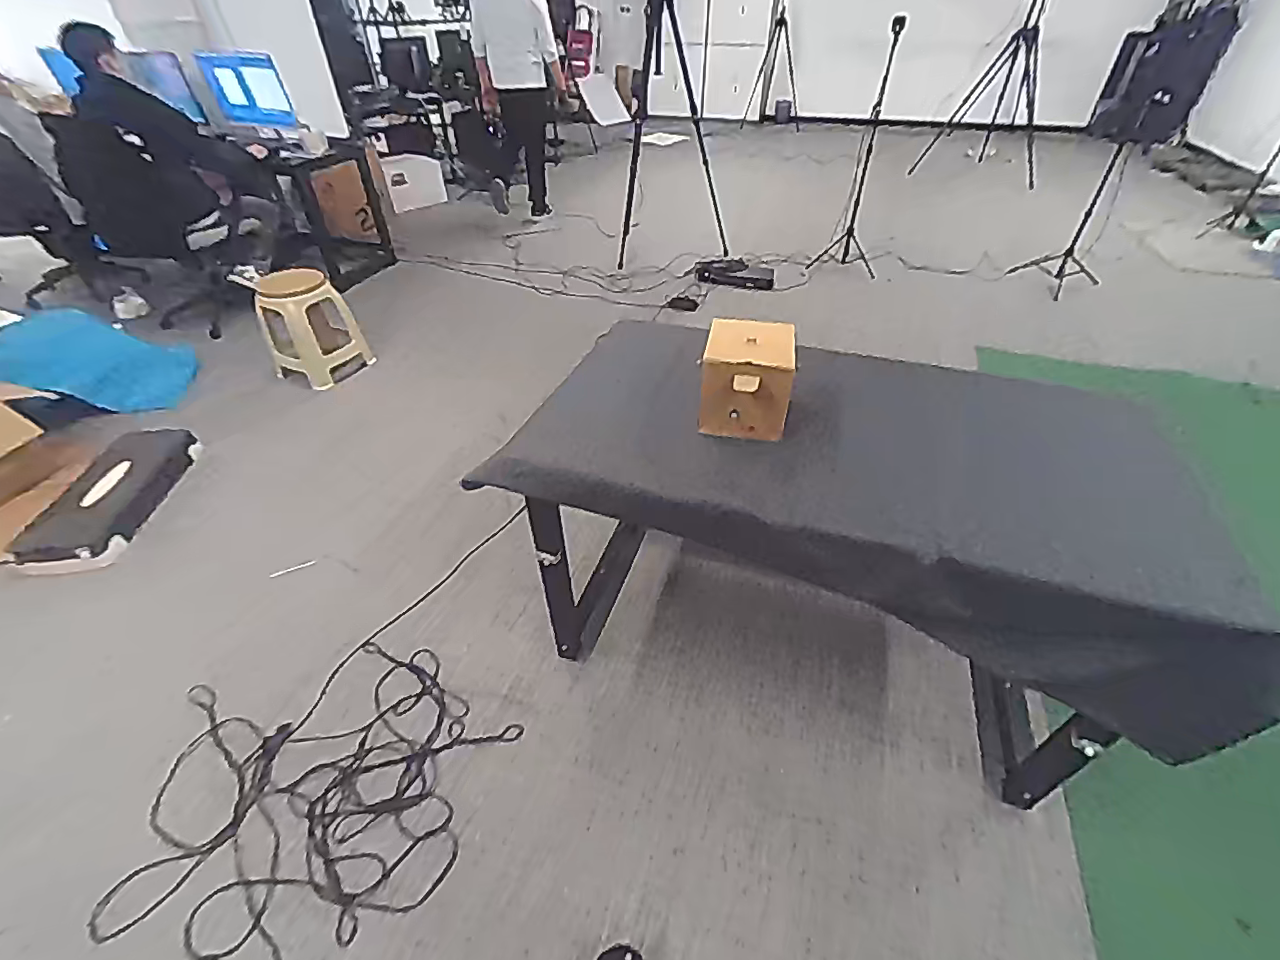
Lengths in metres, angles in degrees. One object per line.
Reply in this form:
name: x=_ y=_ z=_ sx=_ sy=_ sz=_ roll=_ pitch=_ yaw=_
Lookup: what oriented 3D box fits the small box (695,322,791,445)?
small box: x=0.202 y=-0.194 z=1.078 sx=0.168 sy=0.176 sz=0.179 roll=7 pitch=42 yaw=8
